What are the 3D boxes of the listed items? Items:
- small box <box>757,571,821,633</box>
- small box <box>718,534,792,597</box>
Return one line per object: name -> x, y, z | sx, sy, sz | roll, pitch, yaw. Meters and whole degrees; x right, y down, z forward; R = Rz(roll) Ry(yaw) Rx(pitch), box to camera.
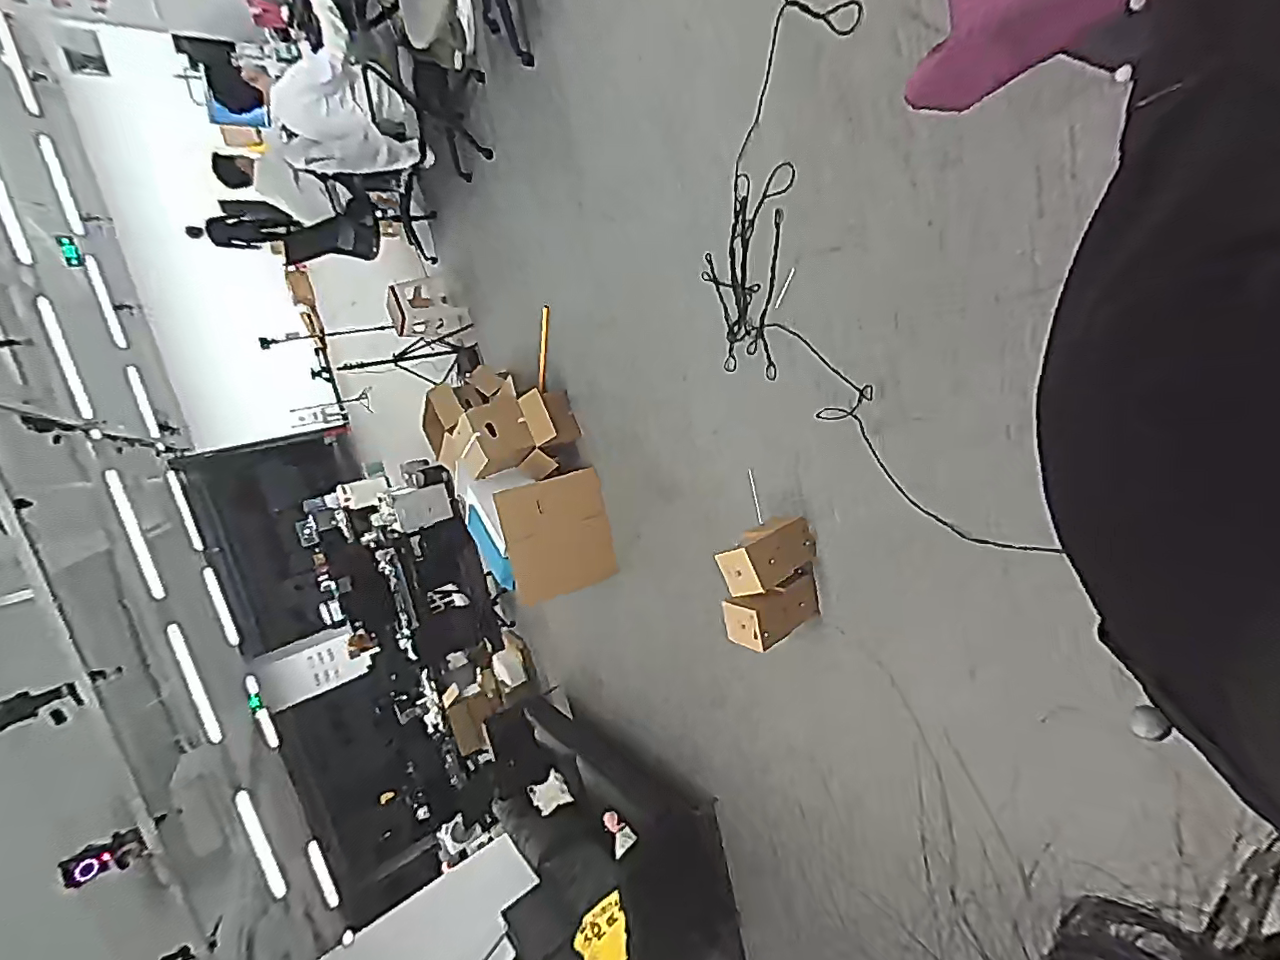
small box -> 0.573, 0.458, 2.085 | 0.168, 0.176, 0.179 | 2, 109, 56
small box -> 0.418, 0.305, 1.933 | 0.179, 0.176, 0.168 | -30, 82, 58
